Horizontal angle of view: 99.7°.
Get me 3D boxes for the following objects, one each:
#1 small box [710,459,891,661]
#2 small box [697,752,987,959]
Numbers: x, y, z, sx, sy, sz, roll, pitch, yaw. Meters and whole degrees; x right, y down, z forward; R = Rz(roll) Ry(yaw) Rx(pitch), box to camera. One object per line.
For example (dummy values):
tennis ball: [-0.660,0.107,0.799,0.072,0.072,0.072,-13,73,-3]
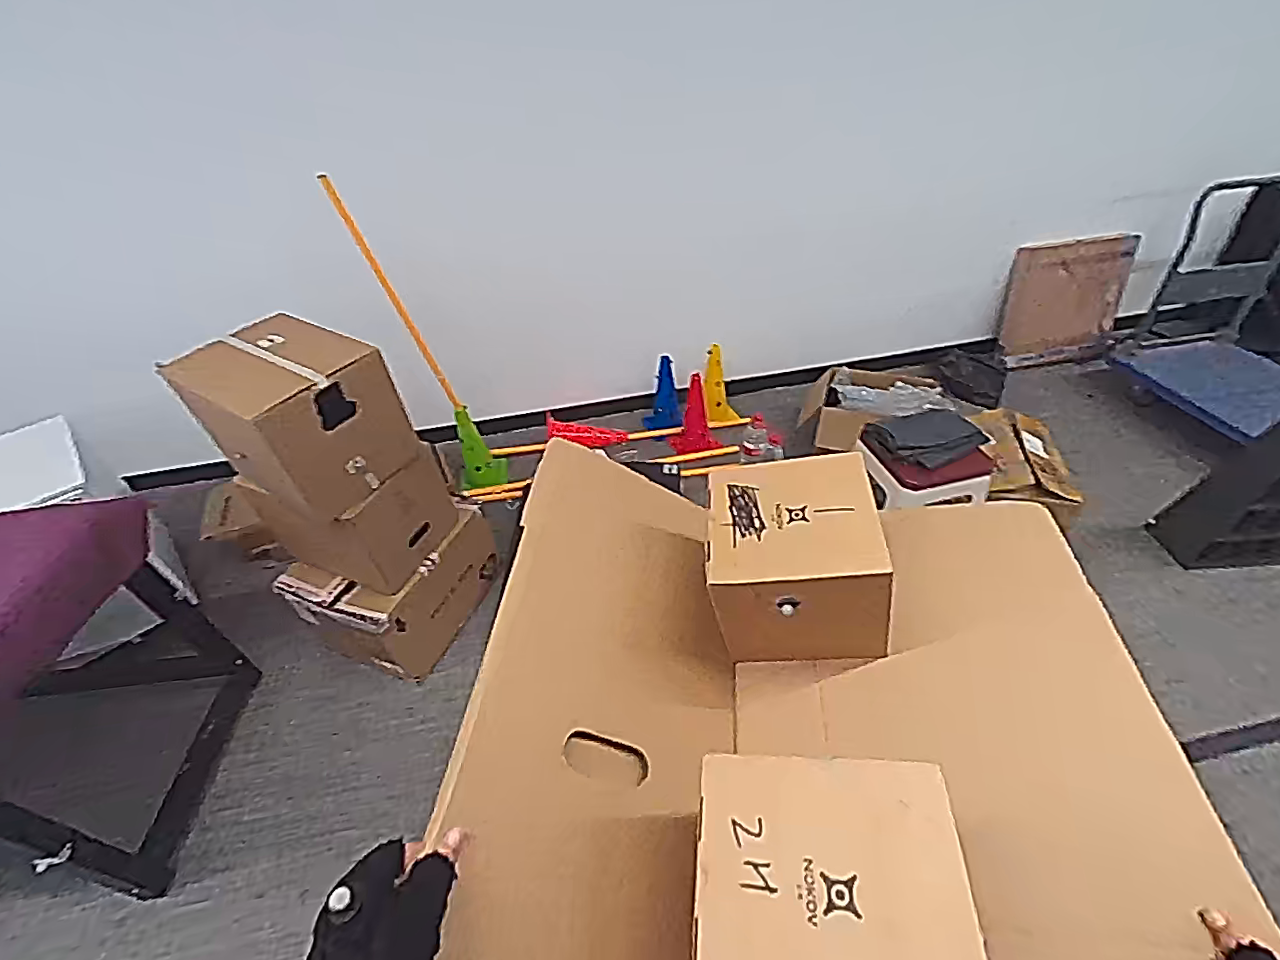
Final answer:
small box: [0.186,0.100,0.636,0.179,0.176,0.168,-7,44,15]
small box: [0.148,0.329,0.416,0.179,0.176,0.168,-6,45,18]
